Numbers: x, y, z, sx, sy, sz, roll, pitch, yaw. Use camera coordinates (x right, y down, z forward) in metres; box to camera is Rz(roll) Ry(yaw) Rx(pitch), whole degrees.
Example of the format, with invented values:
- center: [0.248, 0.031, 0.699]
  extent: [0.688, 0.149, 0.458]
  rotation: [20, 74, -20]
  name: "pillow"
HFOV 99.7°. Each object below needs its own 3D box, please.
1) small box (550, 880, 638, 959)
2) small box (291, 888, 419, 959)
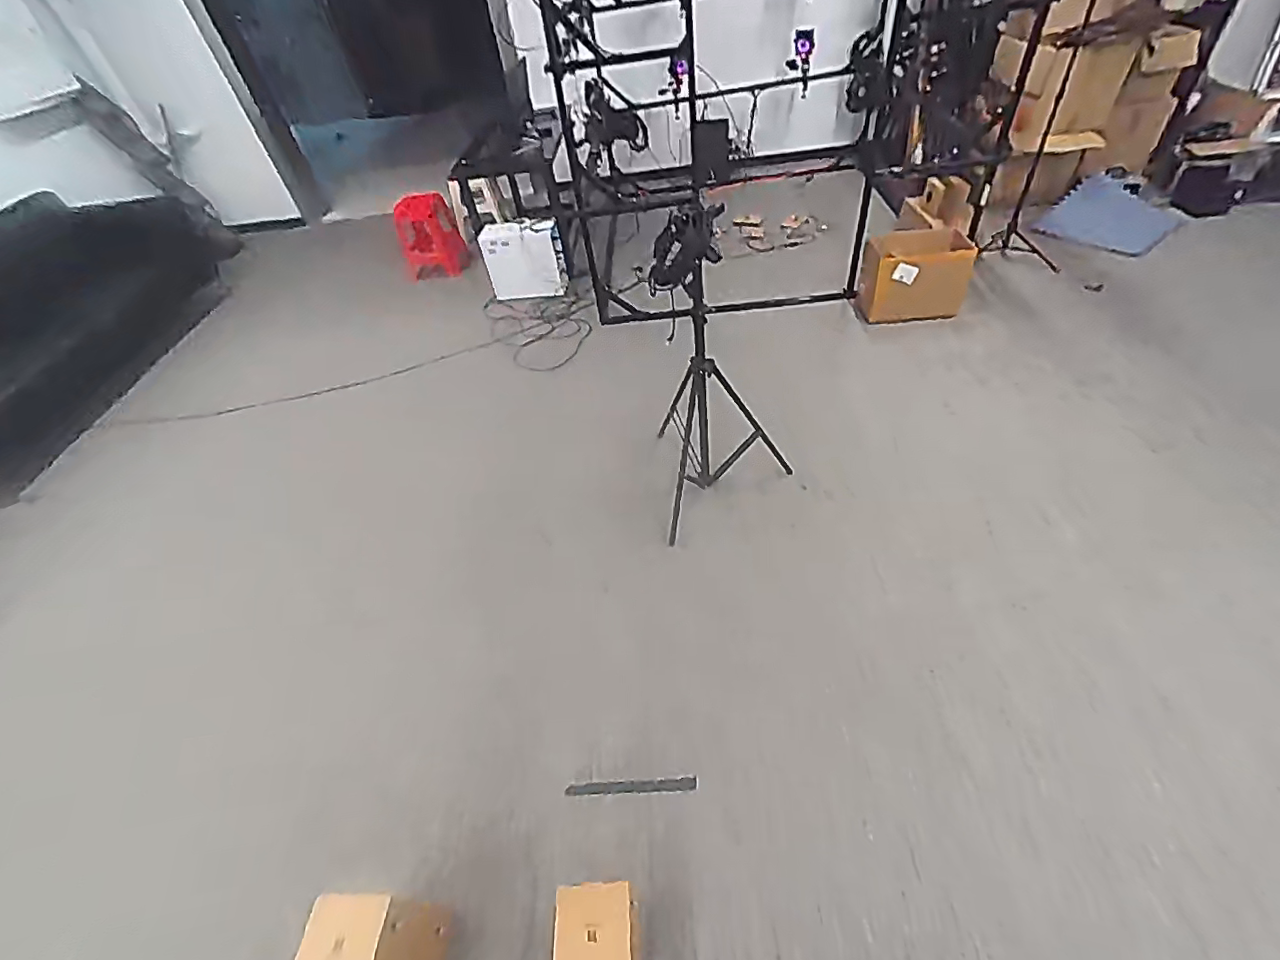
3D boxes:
- center: [-0.096, 1.010, 1.197]
  extent: [0.168, 0.176, 0.179]
  rotation: [-7, 45, 3]
  name: "small box"
- center: [-0.577, 0.955, 1.101]
  extent: [0.168, 0.176, 0.179]
  rotation: [-4, 46, 7]
  name: "small box"
